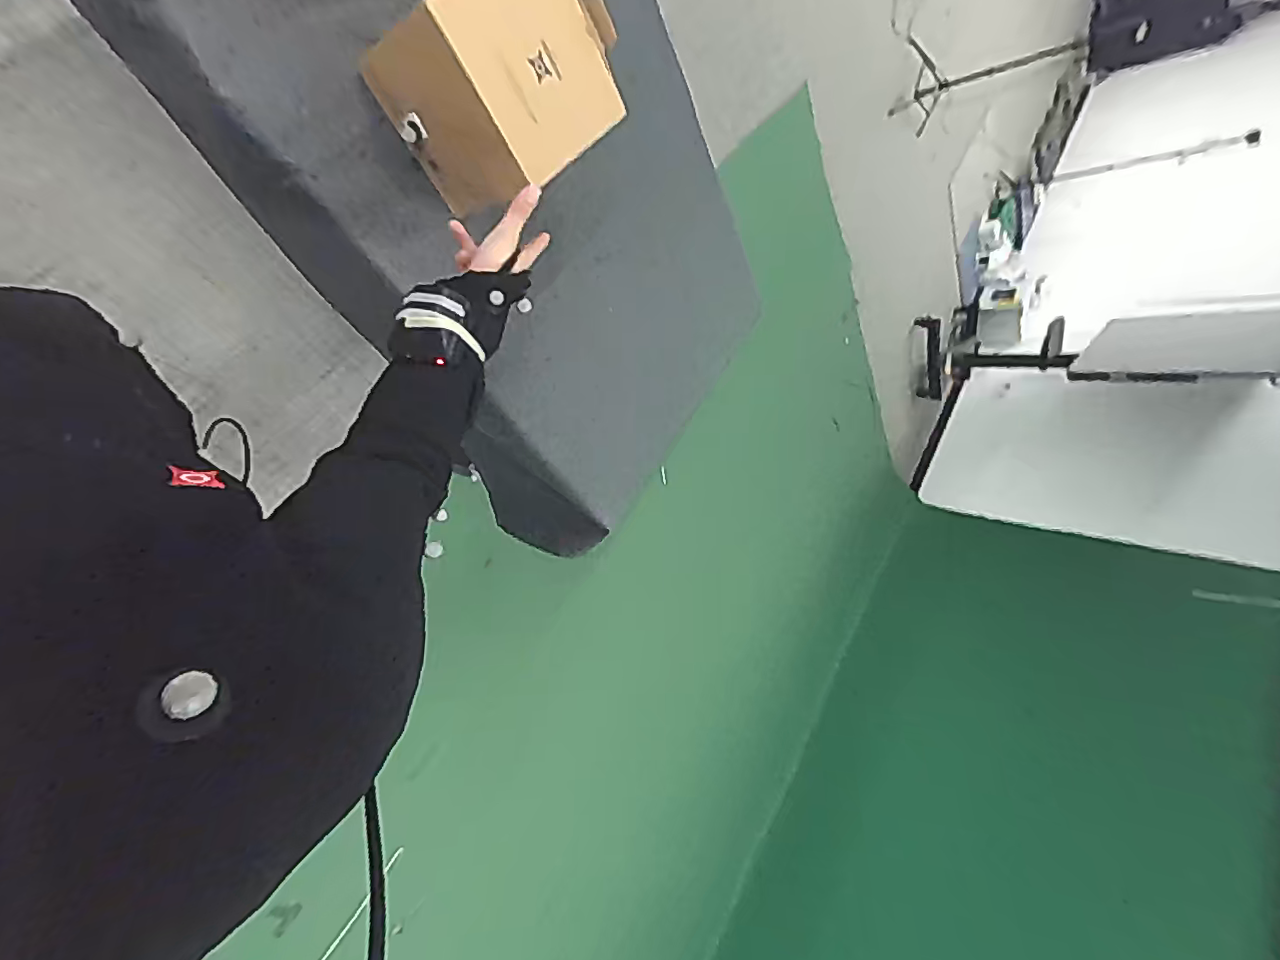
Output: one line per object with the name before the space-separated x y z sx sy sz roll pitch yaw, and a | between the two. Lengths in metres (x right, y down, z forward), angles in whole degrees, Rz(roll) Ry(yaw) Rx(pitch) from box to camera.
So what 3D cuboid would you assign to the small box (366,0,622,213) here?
small box | -0.157 -0.424 0.592 0.179 0.176 0.168 -55 132 -23
